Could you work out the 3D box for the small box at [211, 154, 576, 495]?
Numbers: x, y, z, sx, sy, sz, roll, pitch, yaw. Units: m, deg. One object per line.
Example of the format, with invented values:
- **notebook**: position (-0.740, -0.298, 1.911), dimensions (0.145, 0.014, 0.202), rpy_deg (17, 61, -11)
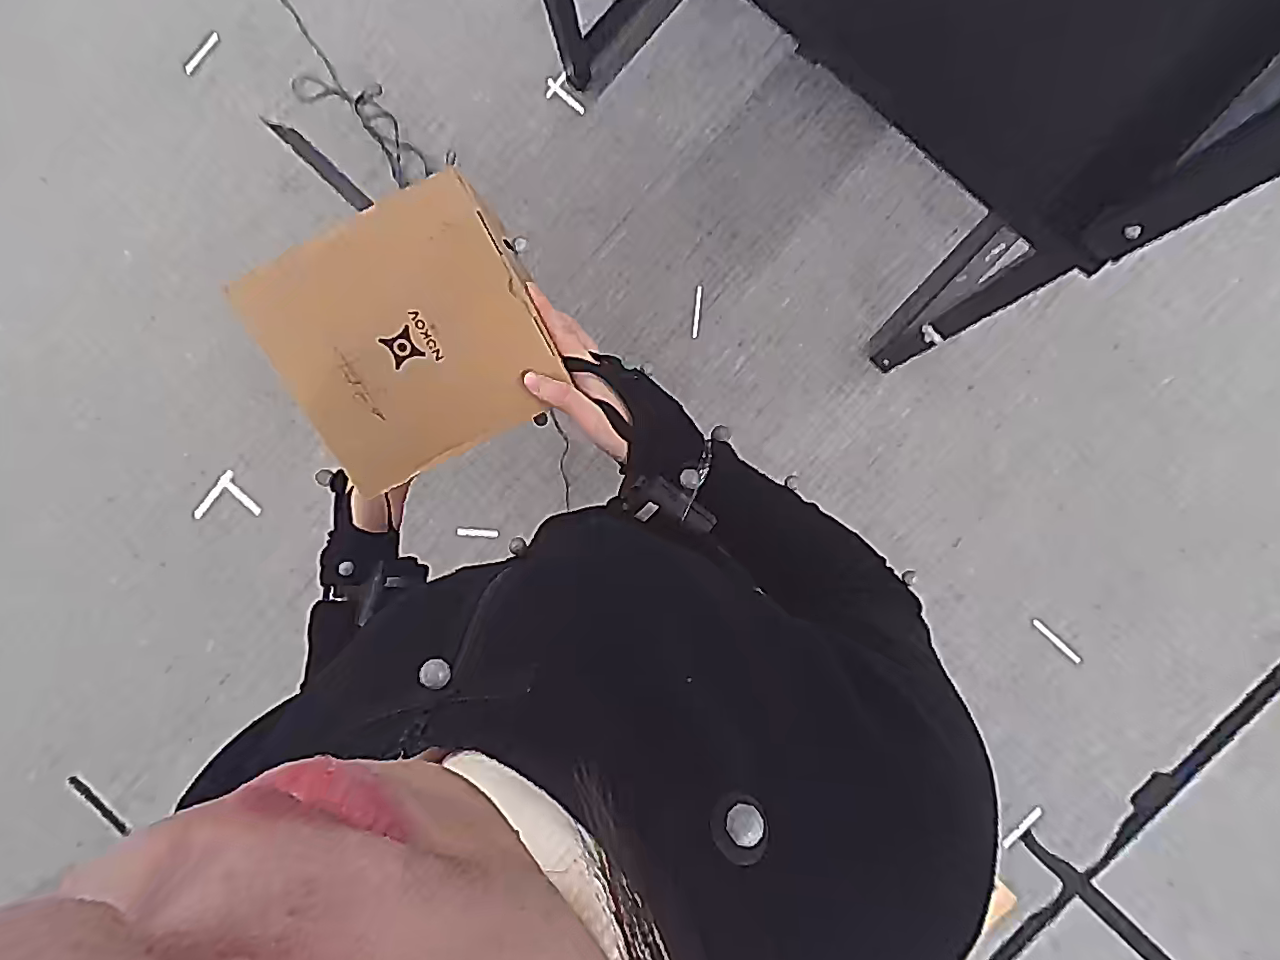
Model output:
- **small box**: position (-0.164, -0.117, 0.430), dimensions (0.179, 0.176, 0.168), rpy_deg (-26, 106, 3)
